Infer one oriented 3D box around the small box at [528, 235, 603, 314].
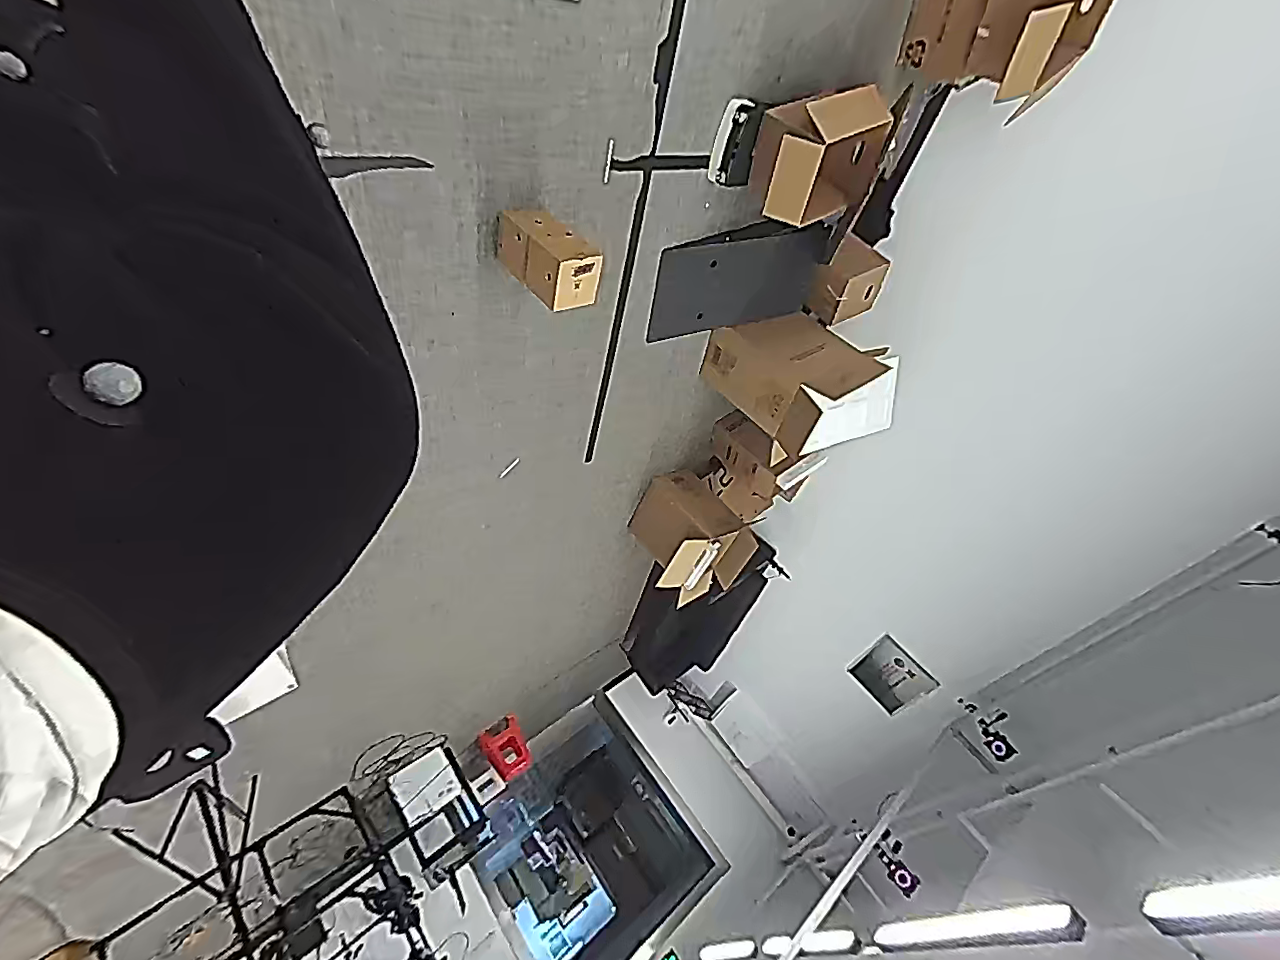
[{"bbox_3d":[-0.243,-0.664,1.727,0.168,0.176,0.179,-26,151,-34],"label":"small box"}]
